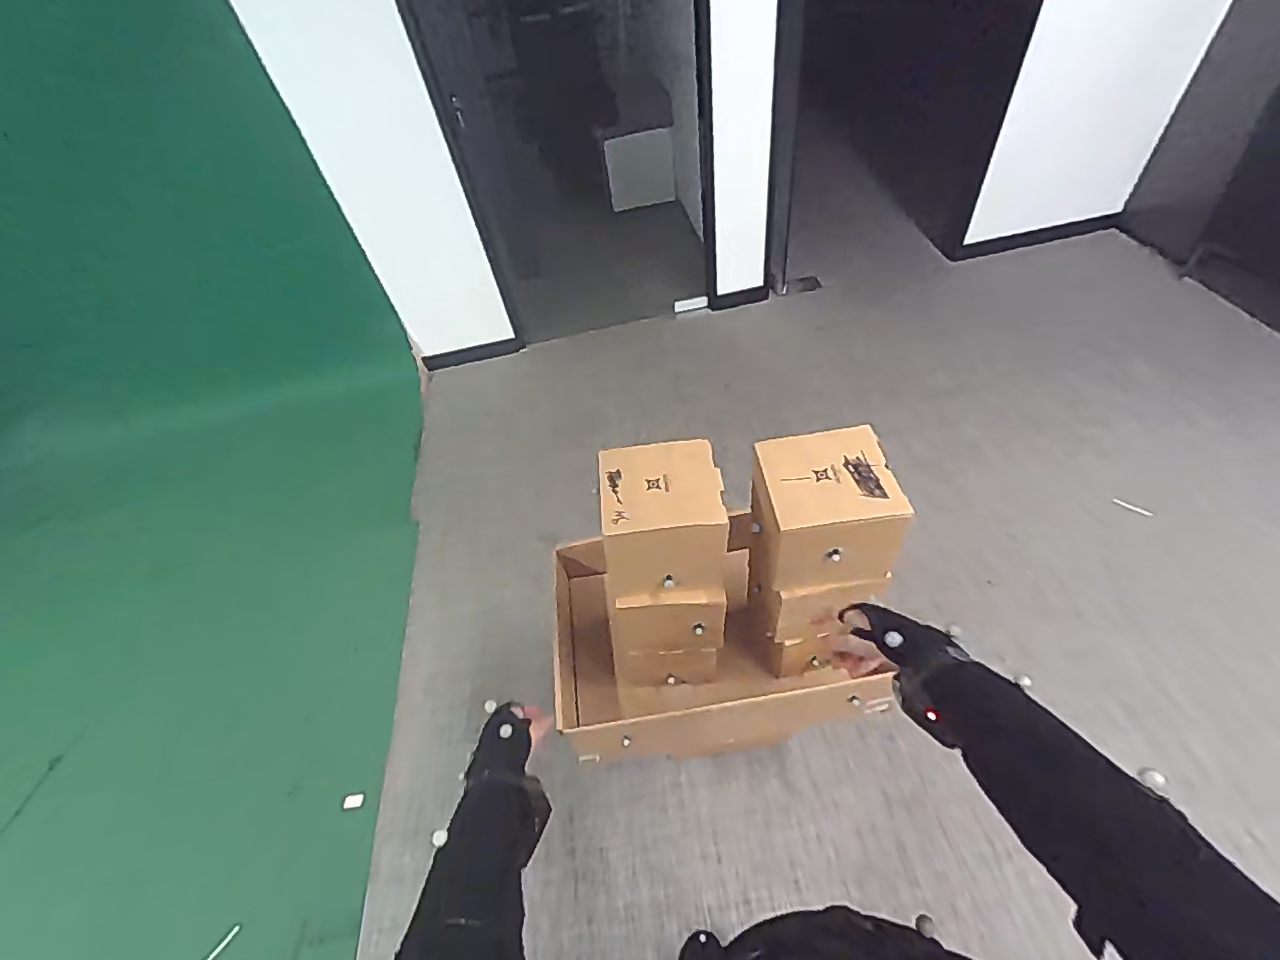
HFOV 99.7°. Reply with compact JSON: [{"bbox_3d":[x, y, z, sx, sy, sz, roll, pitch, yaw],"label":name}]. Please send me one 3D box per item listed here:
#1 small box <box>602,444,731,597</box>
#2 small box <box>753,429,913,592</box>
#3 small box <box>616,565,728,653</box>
[{"bbox_3d":[0.035,0.066,0.839,0.179,0.176,0.168,-5,47,-1],"label":"small box"},{"bbox_3d":[0.272,0.050,0.810,0.179,0.176,0.168,-9,49,4],"label":"small box"},{"bbox_3d":[0.053,0.190,0.945,0.179,0.176,0.168,-3,48,3],"label":"small box"}]
